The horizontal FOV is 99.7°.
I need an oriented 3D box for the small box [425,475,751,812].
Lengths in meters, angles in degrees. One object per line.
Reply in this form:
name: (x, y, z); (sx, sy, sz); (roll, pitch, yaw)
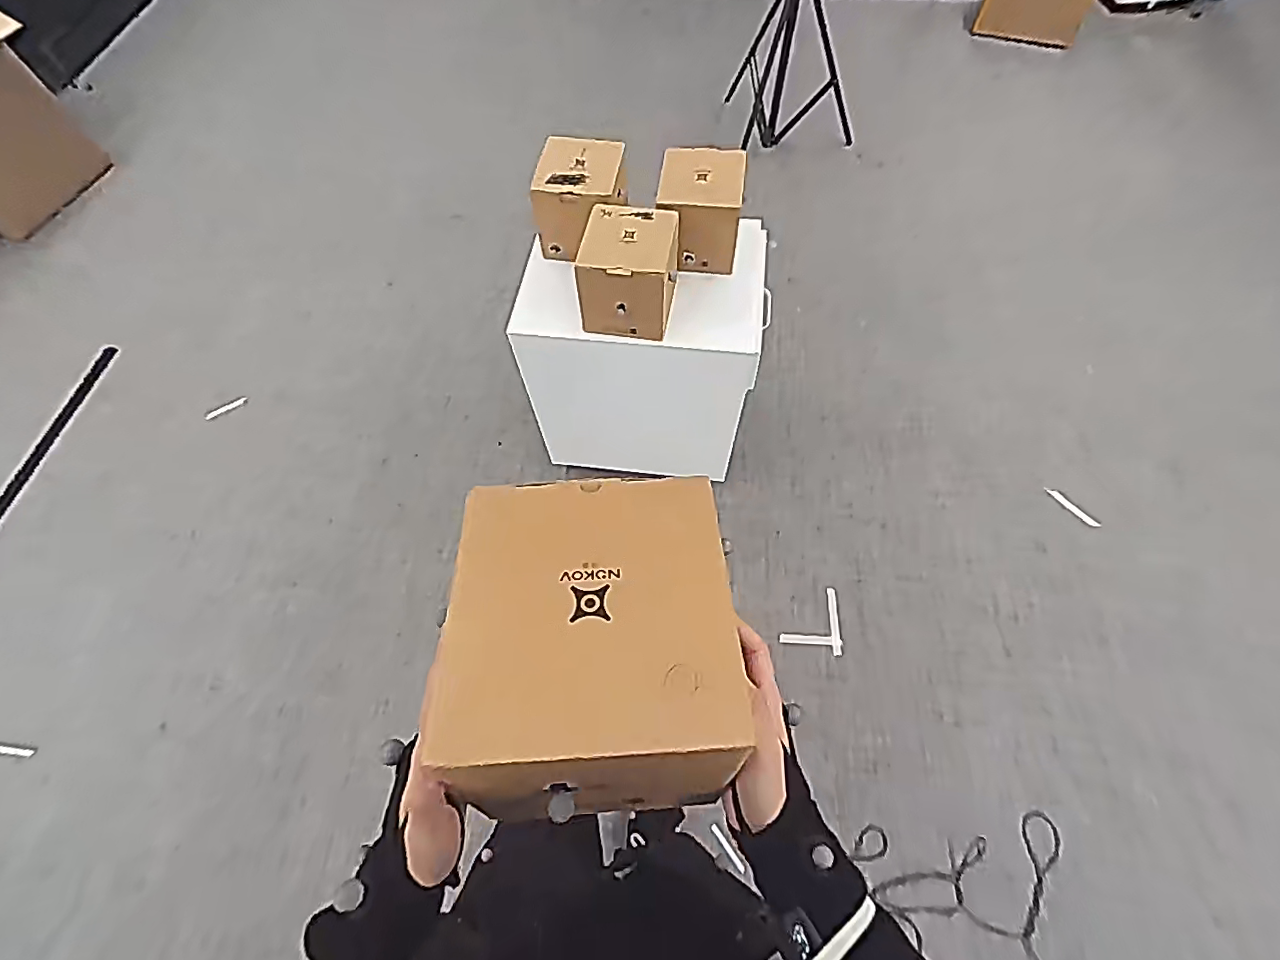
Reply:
small box: (-0.029, 0.119, 0.377); (0.168, 0.176, 0.179); (-3, 50, -3)

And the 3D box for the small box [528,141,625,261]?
small box: (-0.125, -0.584, 1.152); (0.168, 0.176, 0.179); (8, 63, 5)

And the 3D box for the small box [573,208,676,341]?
small box: (-0.023, -0.395, 1.054); (0.168, 0.176, 0.179); (8, 63, 5)

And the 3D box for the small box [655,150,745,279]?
small box: (0.123, -0.553, 1.133); (0.168, 0.176, 0.179); (5, 65, 6)
